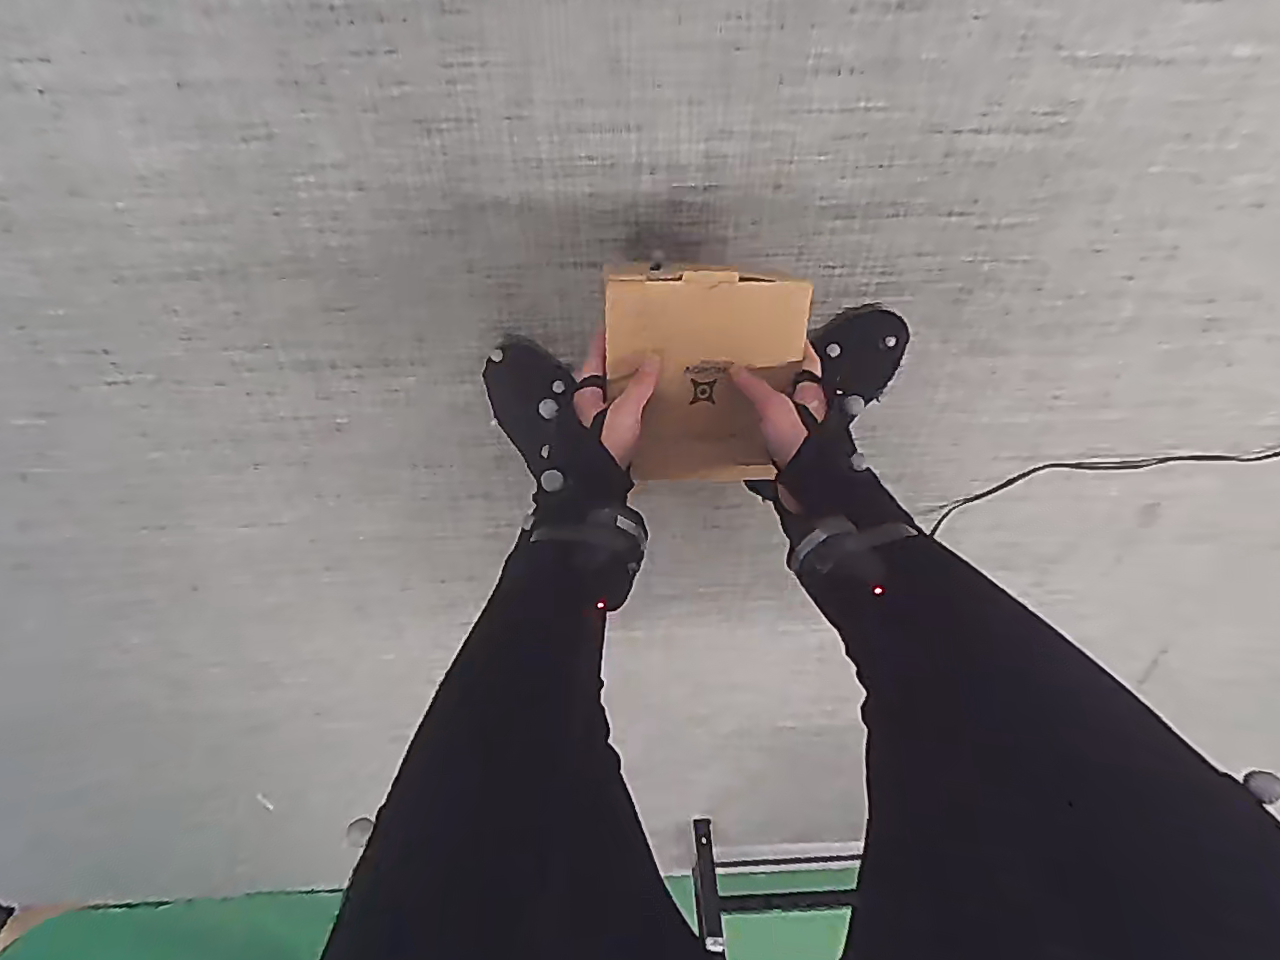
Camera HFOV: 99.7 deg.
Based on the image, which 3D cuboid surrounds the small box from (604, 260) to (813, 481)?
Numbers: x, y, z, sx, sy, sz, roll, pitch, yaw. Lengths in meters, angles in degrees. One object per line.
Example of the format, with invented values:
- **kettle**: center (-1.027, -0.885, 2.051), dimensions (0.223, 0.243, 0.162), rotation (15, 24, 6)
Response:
- **small box**: center (0.049, -0.113, 0.526), dimensions (0.168, 0.176, 0.179), rotation (0, 118, -2)
